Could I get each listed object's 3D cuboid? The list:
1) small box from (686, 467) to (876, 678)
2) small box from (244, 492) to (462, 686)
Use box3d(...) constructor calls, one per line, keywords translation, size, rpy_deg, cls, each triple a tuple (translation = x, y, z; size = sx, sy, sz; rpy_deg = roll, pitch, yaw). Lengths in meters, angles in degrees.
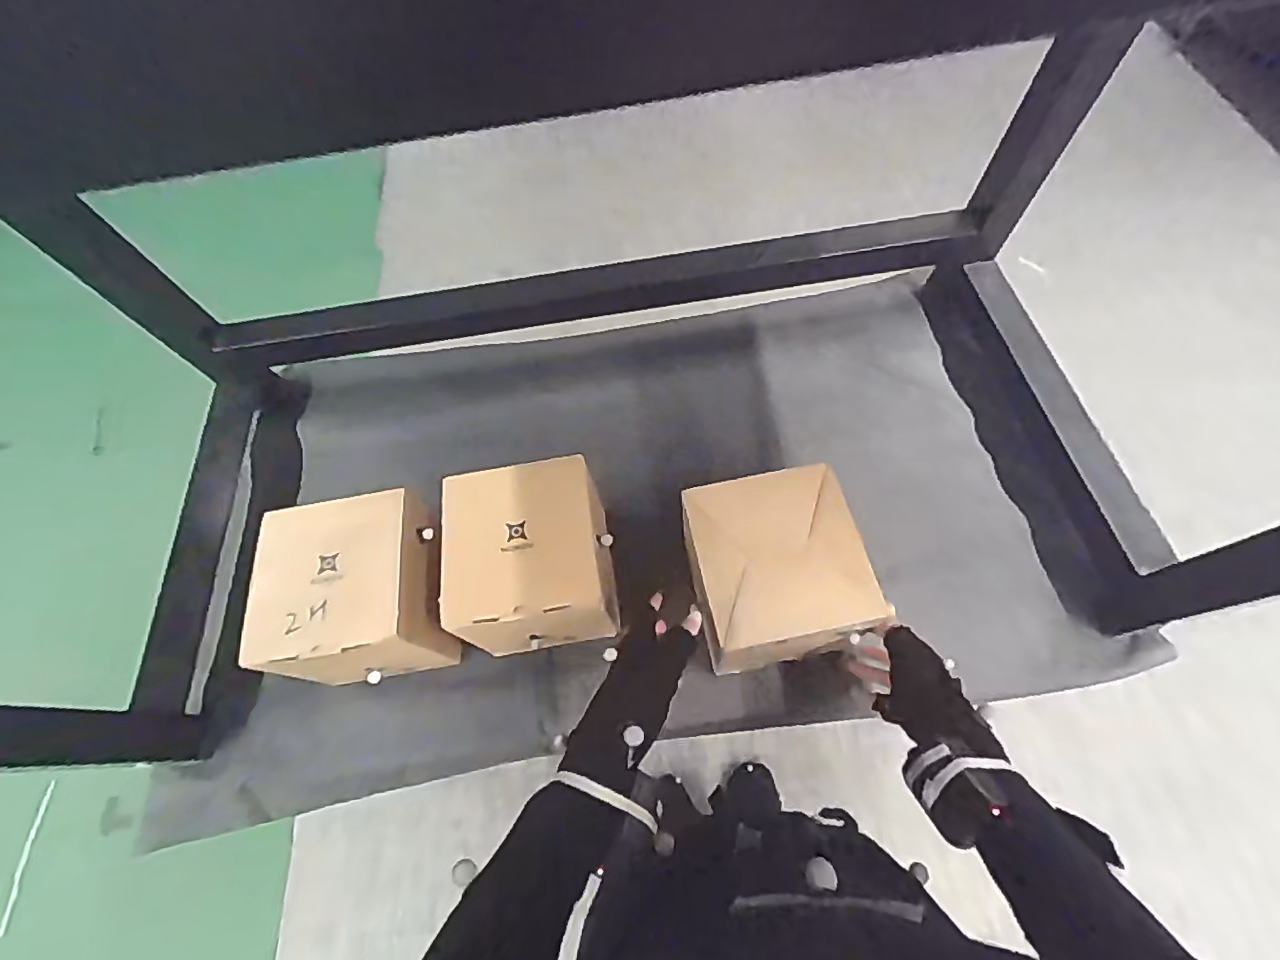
box3d(translation=(0.148, 0.111, 0.620), size=(0.168, 0.176, 0.179), rpy_deg=(-11, 62, 0), cls="small box")
box3d(translation=(-0.326, 0.137, 0.655), size=(0.168, 0.176, 0.179), rpy_deg=(-10, 62, 0), cls="small box")
